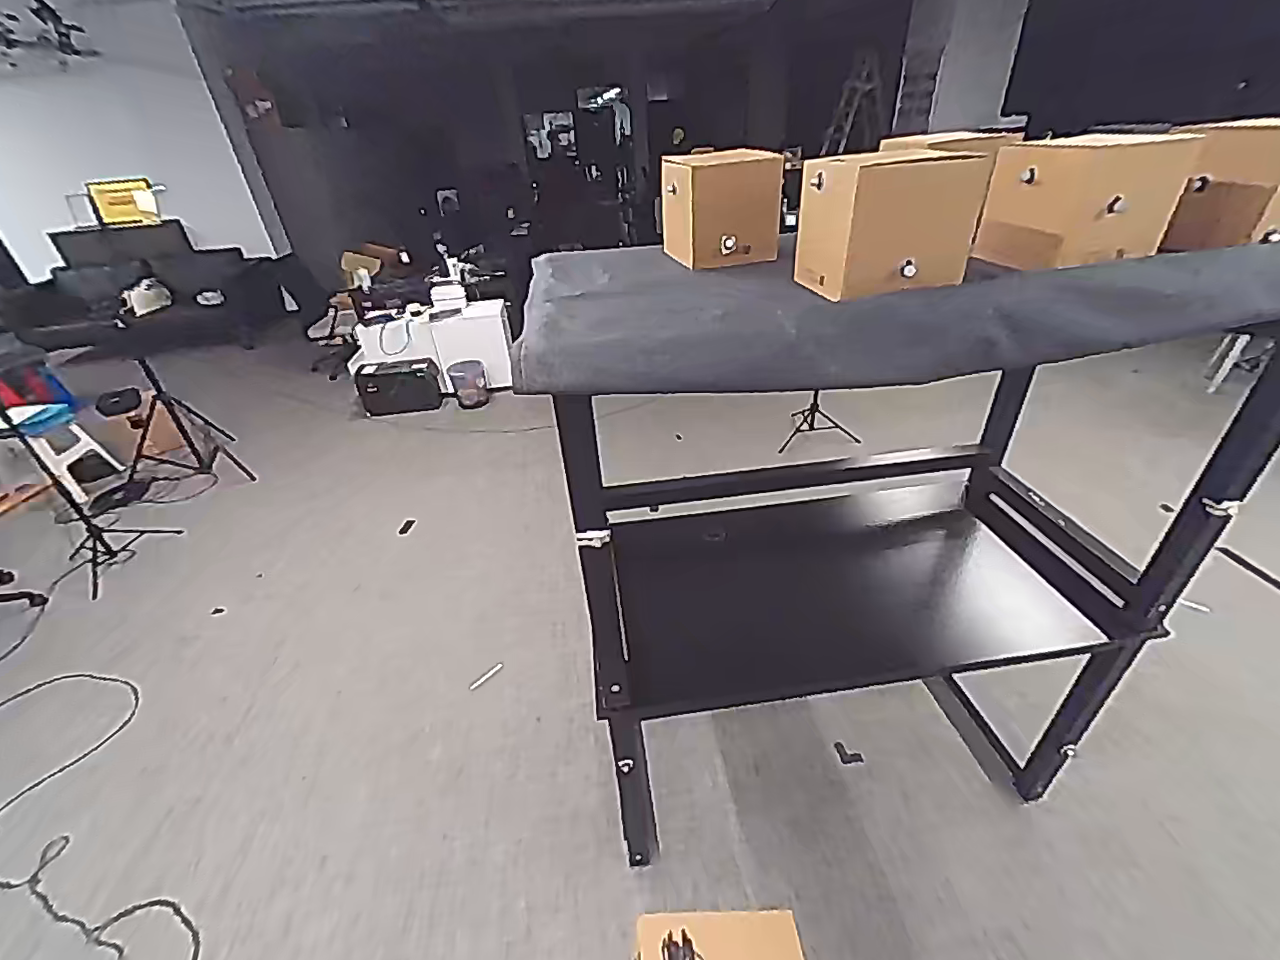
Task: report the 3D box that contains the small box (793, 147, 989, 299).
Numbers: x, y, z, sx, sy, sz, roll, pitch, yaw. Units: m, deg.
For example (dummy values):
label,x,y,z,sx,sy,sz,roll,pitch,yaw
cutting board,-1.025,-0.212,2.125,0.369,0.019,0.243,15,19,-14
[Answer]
label,x,y,z,sx,sy,sz,roll,pitch,yaw
small box,0.330,-0.360,0.753,0.179,0.176,0.168,-7,32,-5

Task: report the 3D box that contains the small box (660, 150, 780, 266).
label,x,y,z,sx,sy,sz,roll,pitch,yaw
small box,0.138,-0.497,0.987,0.168,0.176,0.179,-12,34,-9

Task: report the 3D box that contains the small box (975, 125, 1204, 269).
label,x,y,z,sx,sy,sz,roll,pitch,yaw
small box,0.645,-0.418,0.804,0.168,0.176,0.179,-9,33,-6

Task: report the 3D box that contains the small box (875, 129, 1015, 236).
label,x,y,z,sx,sy,sz,roll,pitch,yaw
small box,0.563,-0.566,1.038,0.179,0.176,0.168,-7,34,-4

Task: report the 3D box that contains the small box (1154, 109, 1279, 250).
label,x,y,z,sx,sy,sz,roll,pitch,yaw
small box,0.917,-0.453,0.818,0.168,0.176,0.179,-11,32,-9
